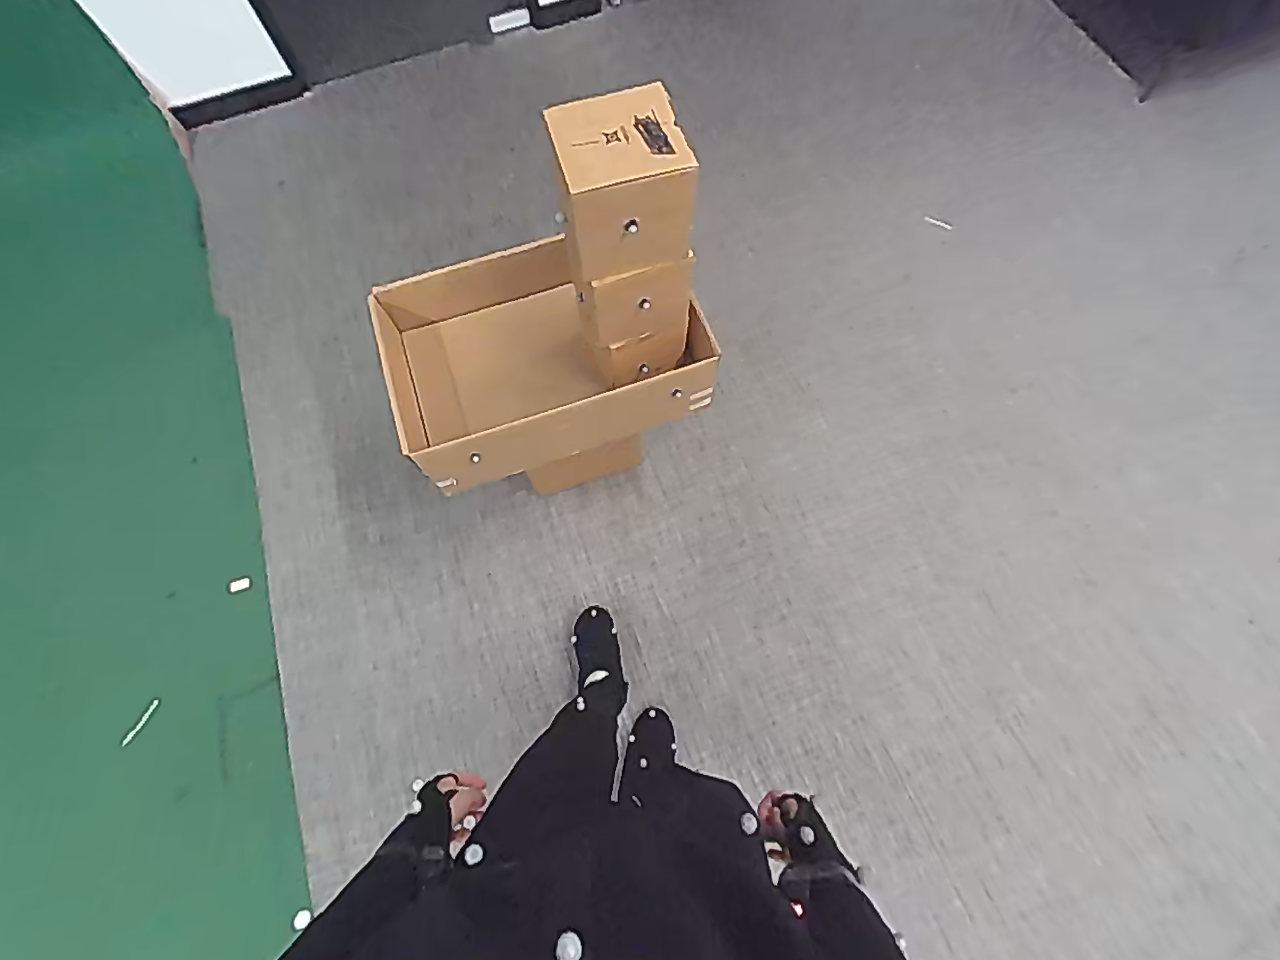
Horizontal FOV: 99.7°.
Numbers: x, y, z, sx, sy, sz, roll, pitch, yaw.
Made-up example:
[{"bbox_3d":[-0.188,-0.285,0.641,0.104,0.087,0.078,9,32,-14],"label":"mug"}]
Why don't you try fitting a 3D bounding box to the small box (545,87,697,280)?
[{"bbox_3d":[-0.028,-0.430,0.803,0.179,0.176,0.168,-16,70,-4],"label":"small box"}]
